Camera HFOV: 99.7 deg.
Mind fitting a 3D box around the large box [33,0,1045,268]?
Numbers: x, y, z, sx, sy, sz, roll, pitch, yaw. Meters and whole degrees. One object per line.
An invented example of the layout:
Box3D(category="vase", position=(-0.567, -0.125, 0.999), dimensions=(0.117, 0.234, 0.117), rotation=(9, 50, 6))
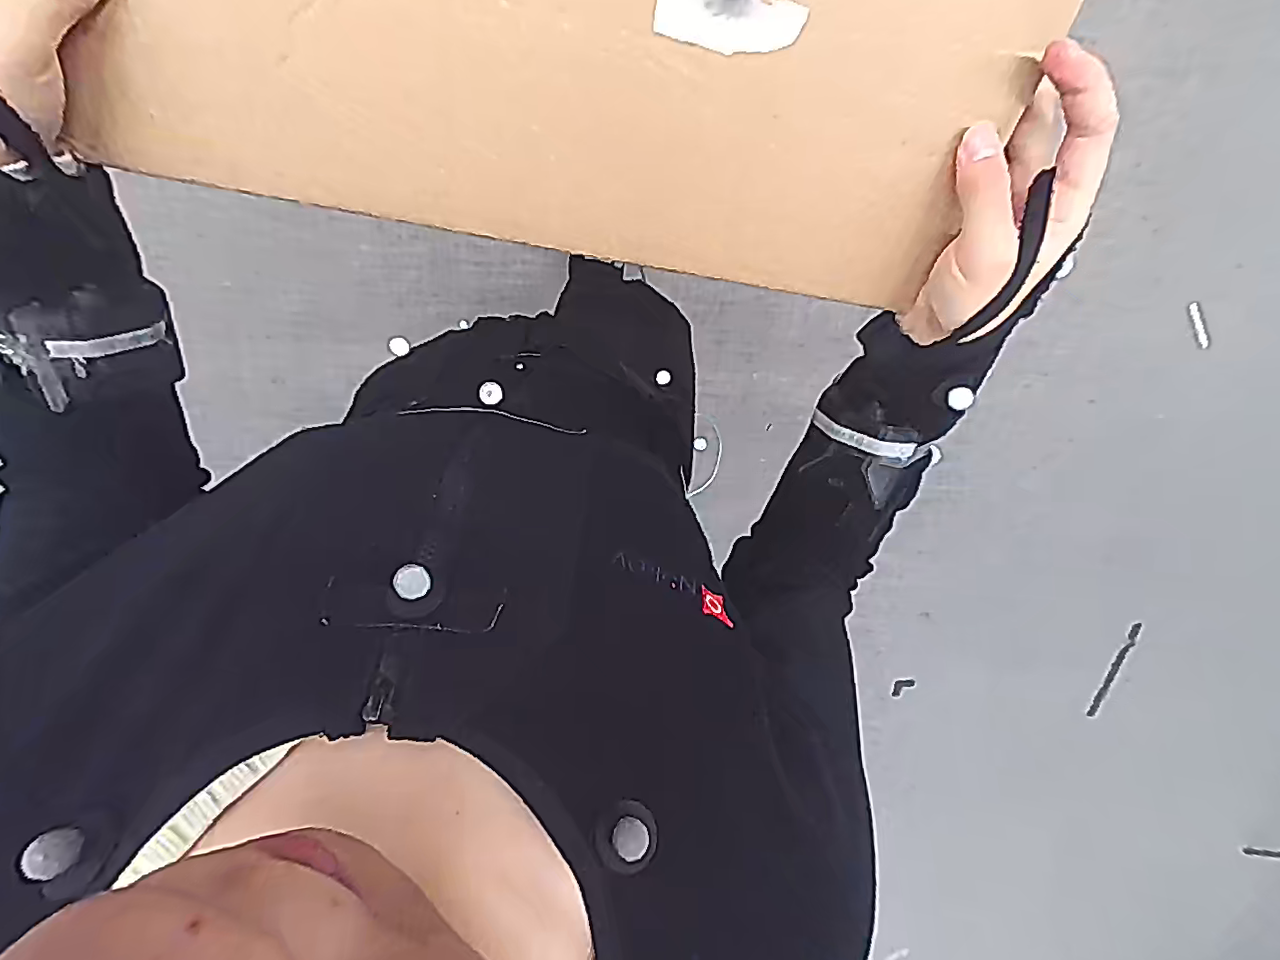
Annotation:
Box3D(category="large box", position=(-0.029, -0.345, 0.286), dimensions=(0.408, 0.320, 0.320), rotation=(7, 130, -9))
